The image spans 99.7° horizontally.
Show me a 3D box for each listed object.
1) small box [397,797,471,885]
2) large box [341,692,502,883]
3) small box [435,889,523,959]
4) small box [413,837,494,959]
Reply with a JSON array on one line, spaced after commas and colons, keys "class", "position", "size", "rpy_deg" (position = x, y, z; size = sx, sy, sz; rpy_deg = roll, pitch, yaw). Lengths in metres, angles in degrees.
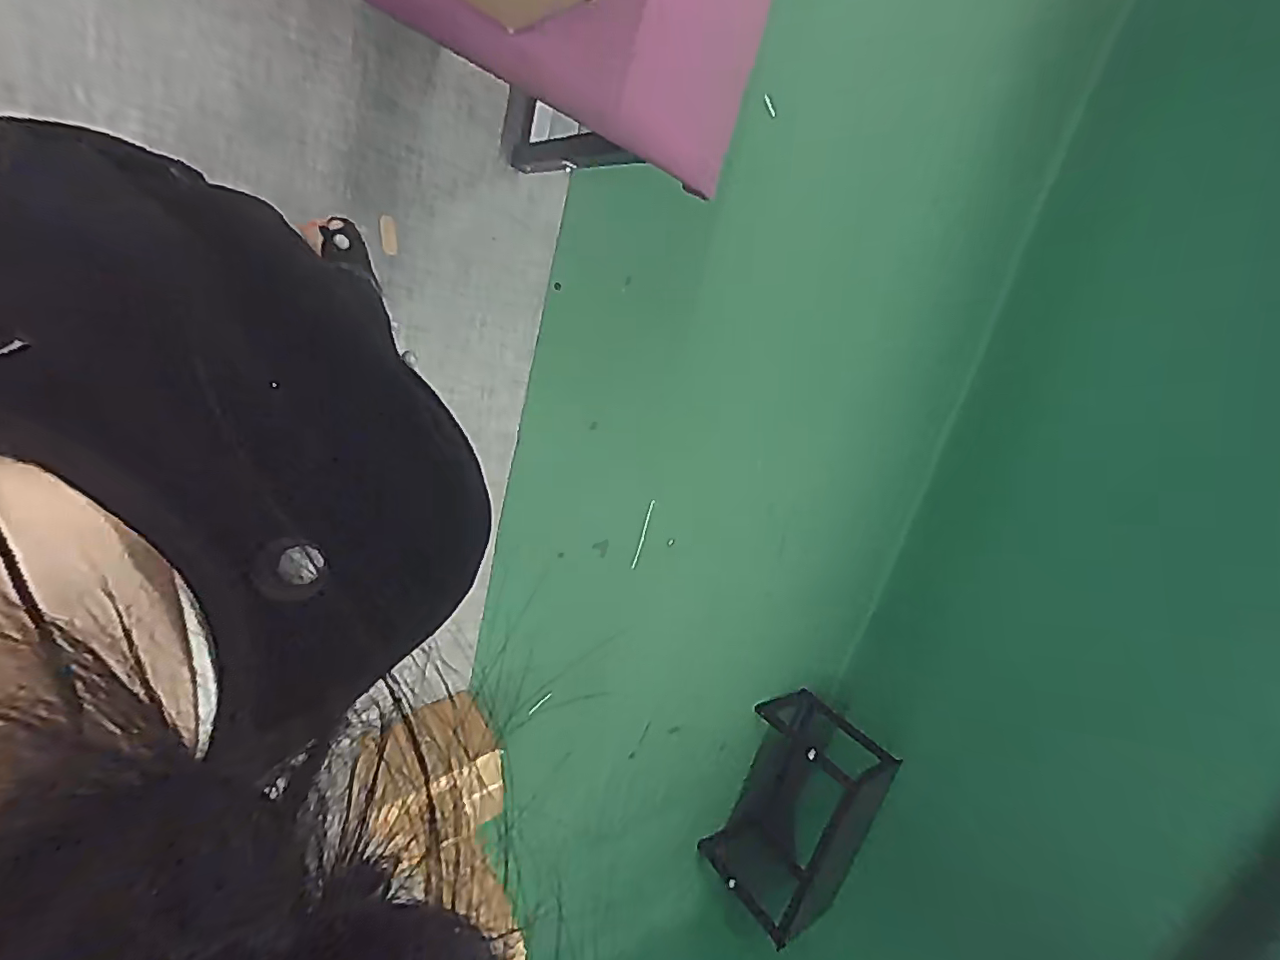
[{"class": "small box", "position": [-0.604, 1.077, 1.595], "size": [0.168, 0.176, 0.179], "rpy_deg": [-13, 119, -35]}, {"class": "large box", "position": [-0.719, 0.993, 1.798], "size": [0.408, 0.320, 0.320], "rpy_deg": [-15, 121, -36]}, {"class": "small box", "position": [-0.408, 1.198, 1.362], "size": [0.179, 0.176, 0.168], "rpy_deg": [-13, 119, -34]}, {"class": "small box", "position": [-0.509, 1.138, 1.477], "size": [0.179, 0.176, 0.168], "rpy_deg": [-15, 120, -35]}]
